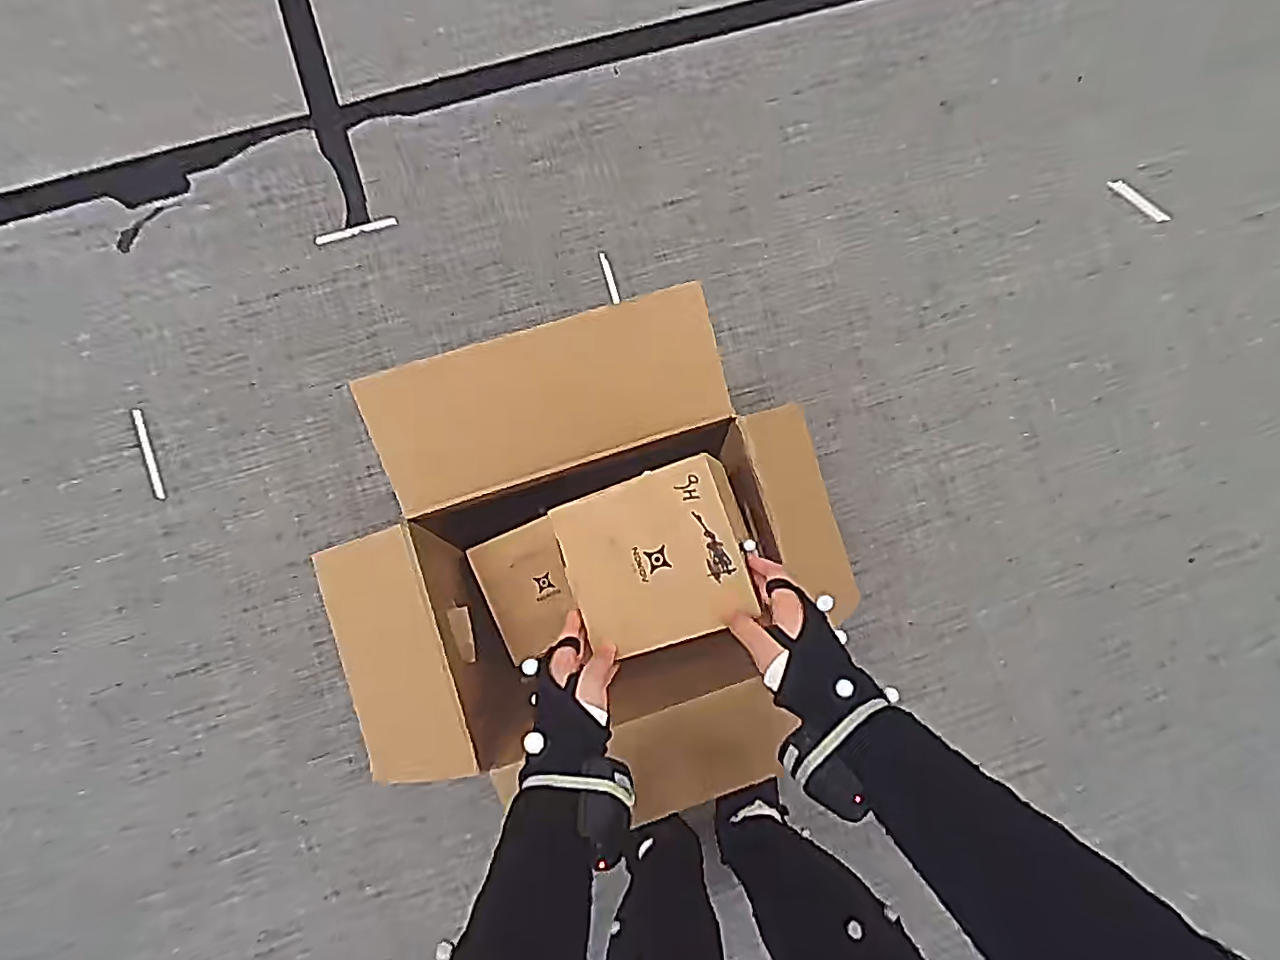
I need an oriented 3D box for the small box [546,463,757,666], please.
[{"bbox_3d":[0.024,0.090,0.616,0.179,0.176,0.168,-20,84,13],"label":"small box"}]
